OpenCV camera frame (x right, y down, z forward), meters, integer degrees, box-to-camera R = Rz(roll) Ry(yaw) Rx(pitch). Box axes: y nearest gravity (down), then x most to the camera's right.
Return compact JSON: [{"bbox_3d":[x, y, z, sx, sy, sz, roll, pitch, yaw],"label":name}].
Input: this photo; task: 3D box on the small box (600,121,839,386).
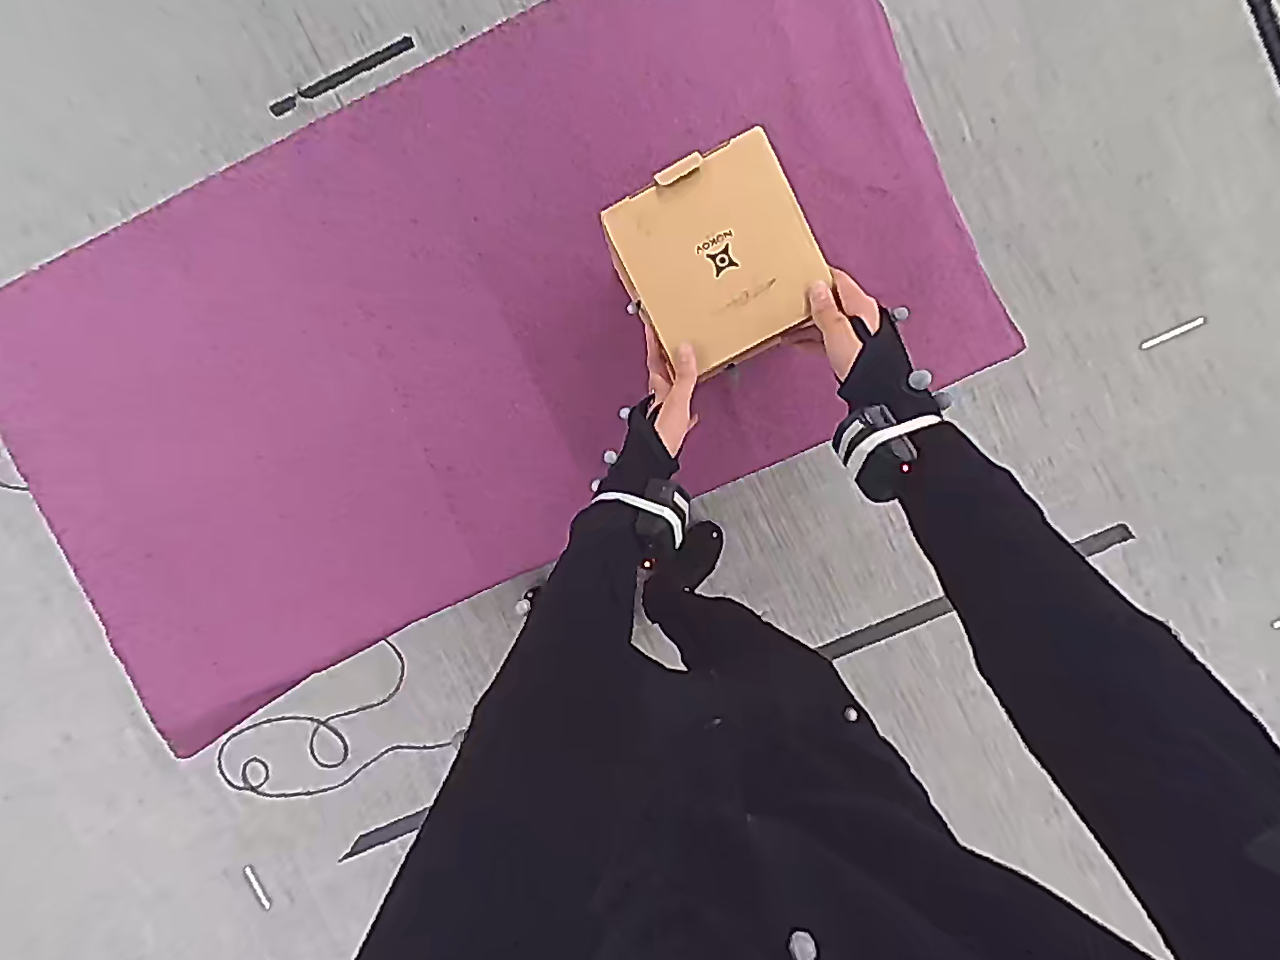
[{"bbox_3d":[0.073,-0.213,0.565,0.168,0.176,0.179,-26,94,5],"label":"small box"}]
